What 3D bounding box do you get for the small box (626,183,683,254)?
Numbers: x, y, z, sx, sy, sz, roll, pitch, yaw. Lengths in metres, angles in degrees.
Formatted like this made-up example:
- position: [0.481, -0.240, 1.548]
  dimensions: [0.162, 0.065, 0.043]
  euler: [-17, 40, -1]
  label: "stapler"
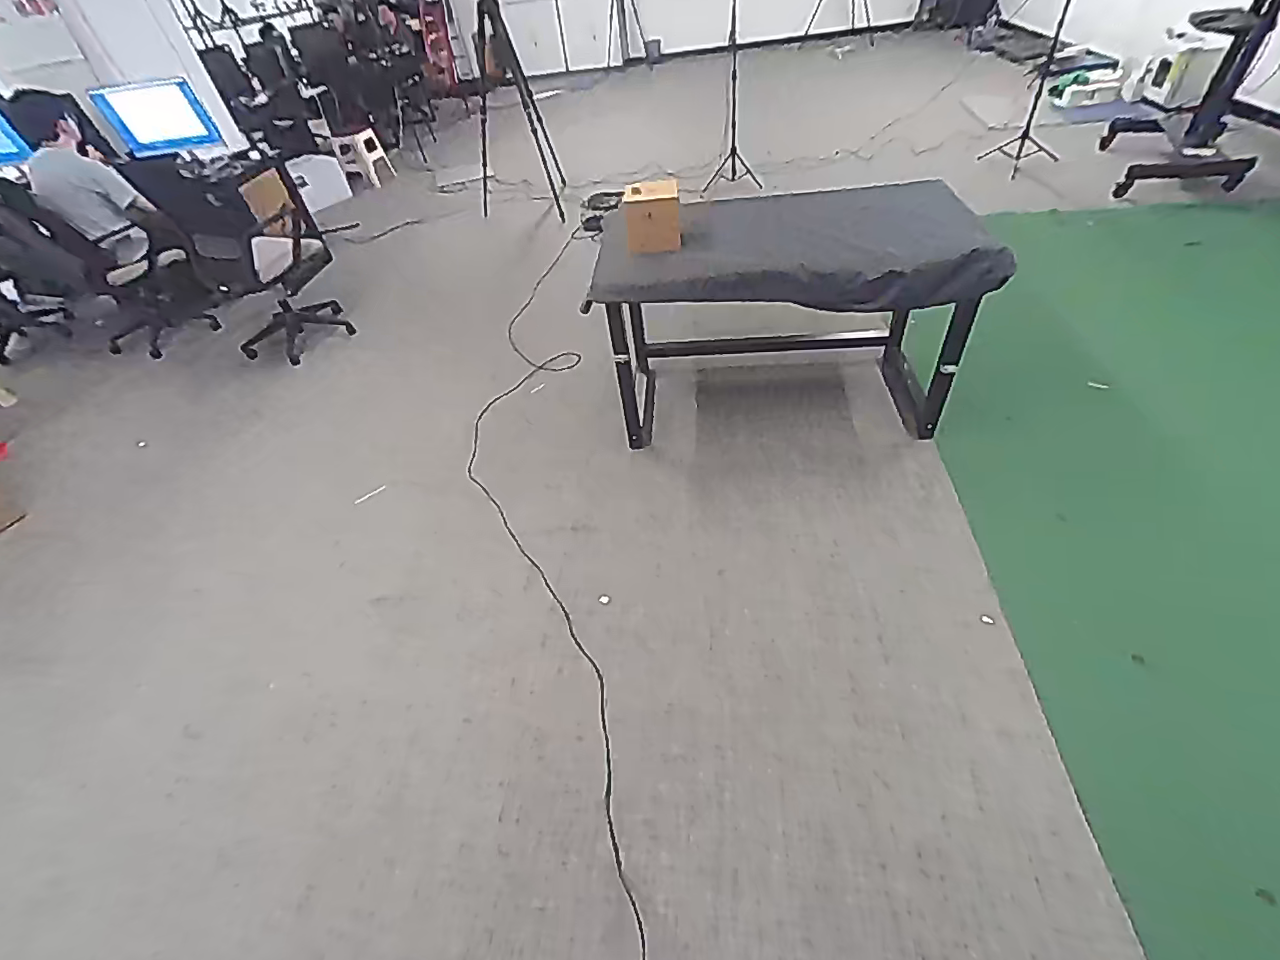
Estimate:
- position: [0.052, -0.868, 1.804]
  dimensions: [0.179, 0.176, 0.168]
  euler: [-3, 45, 5]
  label: "small box"
